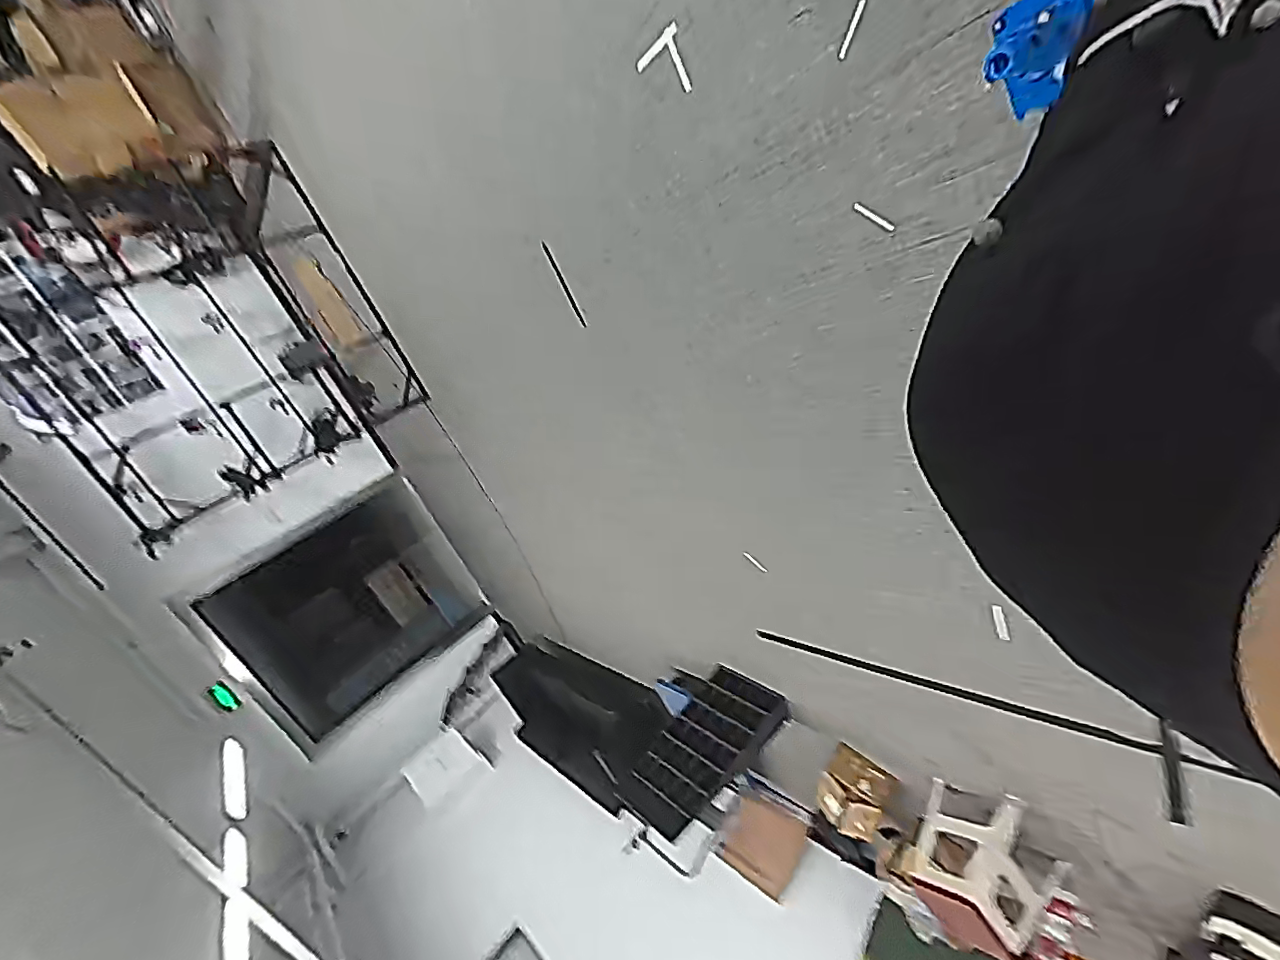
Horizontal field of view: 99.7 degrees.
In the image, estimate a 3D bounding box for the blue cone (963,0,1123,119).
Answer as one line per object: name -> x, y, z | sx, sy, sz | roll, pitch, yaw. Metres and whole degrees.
blue cone -> 0.650, -0.721, 0.918 | 0.192, 0.380, 0.193 | -3, 119, 55
